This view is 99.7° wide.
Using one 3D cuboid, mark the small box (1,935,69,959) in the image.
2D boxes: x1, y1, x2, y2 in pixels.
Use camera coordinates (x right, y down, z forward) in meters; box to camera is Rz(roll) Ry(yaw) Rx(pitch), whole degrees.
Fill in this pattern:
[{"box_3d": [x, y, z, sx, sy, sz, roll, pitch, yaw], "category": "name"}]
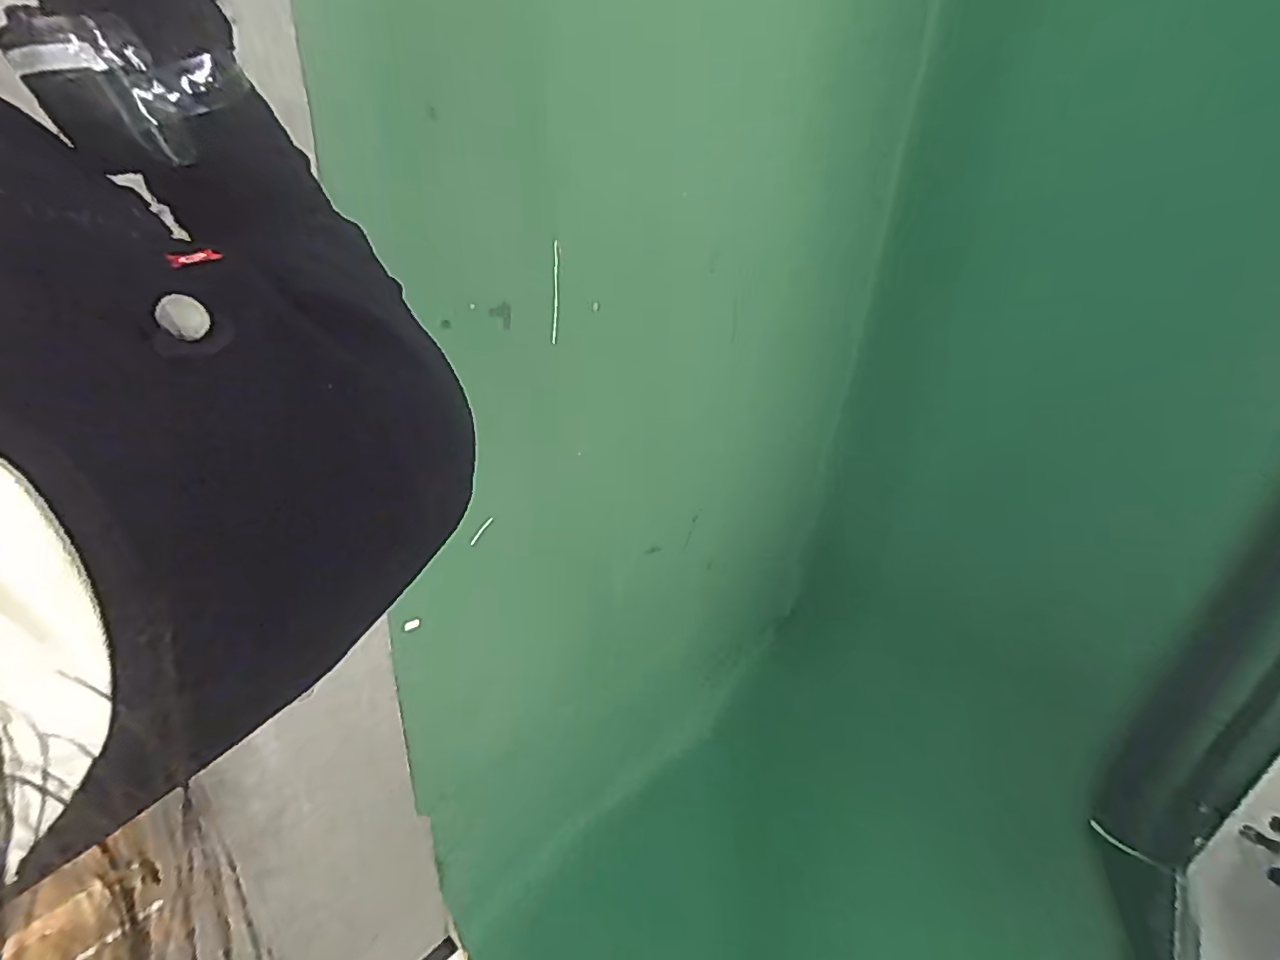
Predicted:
[{"box_3d": [-1.137, 0.983, 0.965, 0.179, 0.176, 0.168, -24, 126, -40], "category": "small box"}]
